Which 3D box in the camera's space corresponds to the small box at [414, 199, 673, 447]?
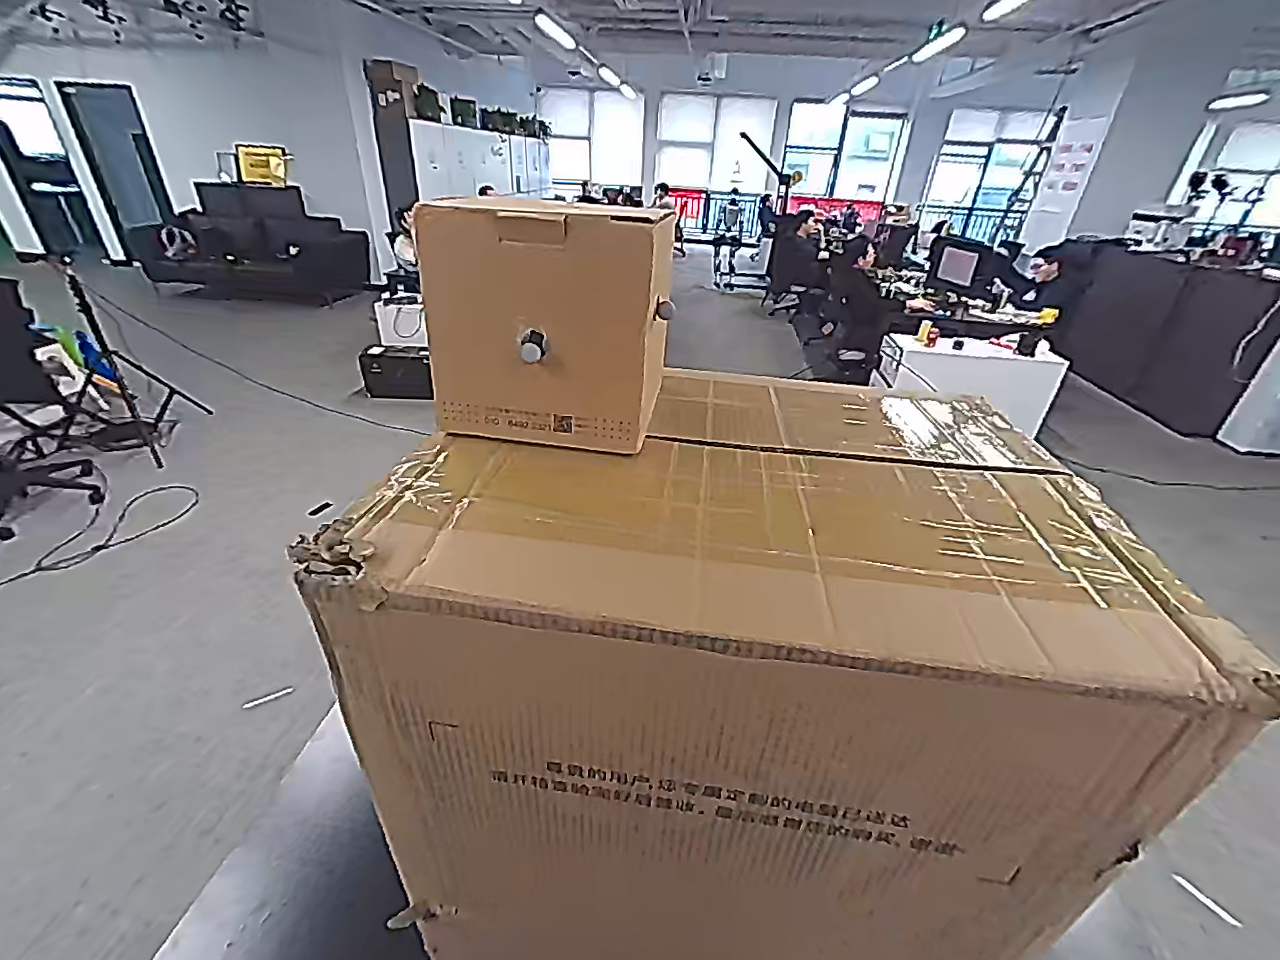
[{"bbox_3d":[-0.065,-0.140,0.465,0.168,0.176,0.179,7,29,5],"label":"small box"}]
